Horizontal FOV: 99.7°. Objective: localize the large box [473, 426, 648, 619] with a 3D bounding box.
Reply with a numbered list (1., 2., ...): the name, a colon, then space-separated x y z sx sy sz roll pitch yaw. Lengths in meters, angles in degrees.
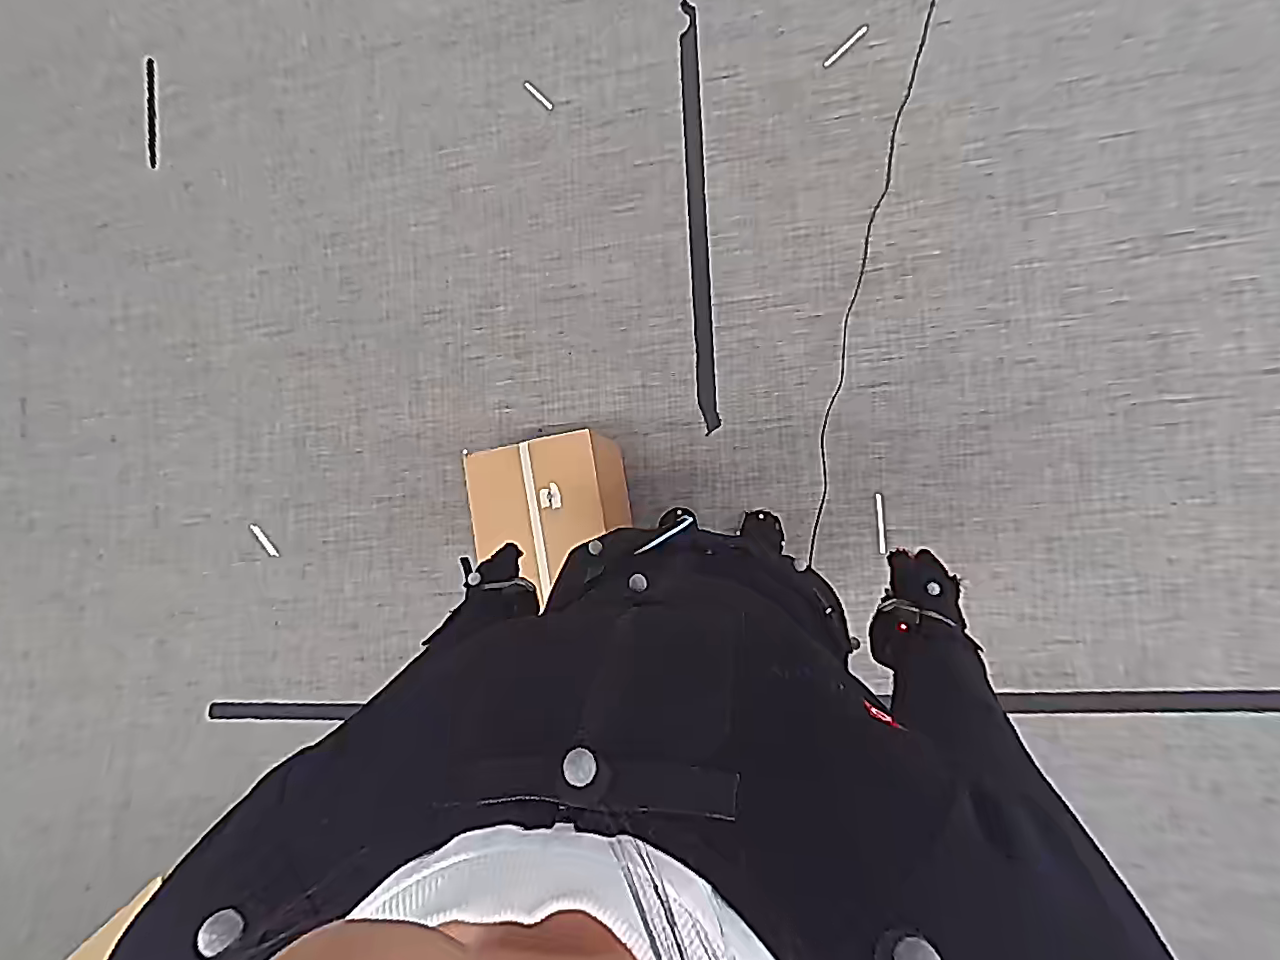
1. large box: -0.186 0.110 1.377 0.320 0.320 0.408 -11 84 10
